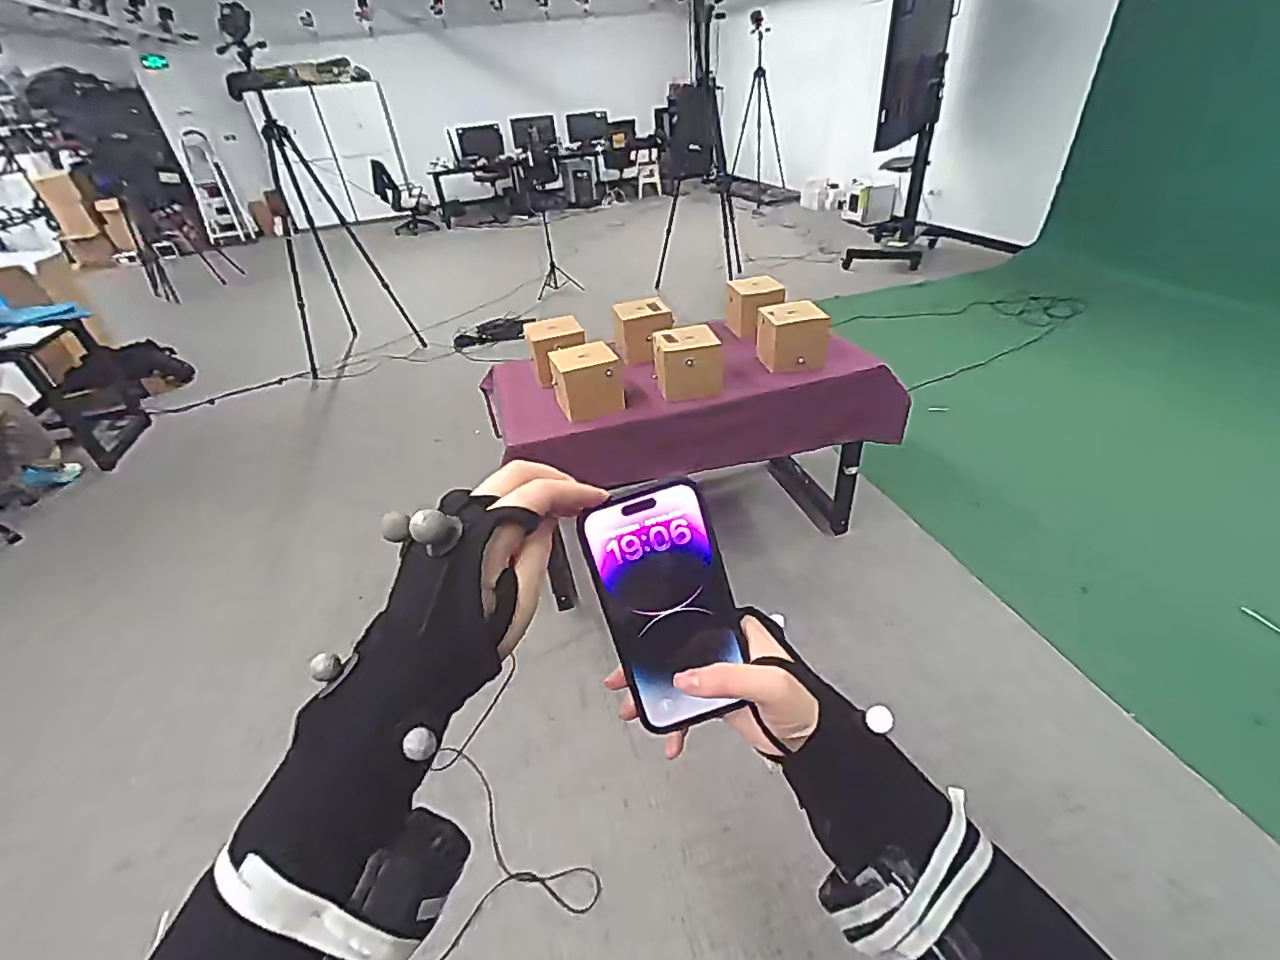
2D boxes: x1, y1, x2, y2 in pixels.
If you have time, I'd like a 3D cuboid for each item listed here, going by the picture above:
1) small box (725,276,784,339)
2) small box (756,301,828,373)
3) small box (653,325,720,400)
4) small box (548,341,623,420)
[{"bbox_3d":[0.419,-0.642,2.009,0.168,0.176,0.179,-12,37,-7],"label":"small box"},{"bbox_3d":[0.488,-0.465,1.760,0.179,0.176,0.168,-9,36,-4],"label":"small box"},{"bbox_3d":[0.143,-0.361,1.671,0.179,0.176,0.168,-9,36,-5],"label":"small box"},{"bbox_3d":[-0.161,-0.297,1.629,0.179,0.176,0.168,-16,37,-15],"label":"small box"}]
